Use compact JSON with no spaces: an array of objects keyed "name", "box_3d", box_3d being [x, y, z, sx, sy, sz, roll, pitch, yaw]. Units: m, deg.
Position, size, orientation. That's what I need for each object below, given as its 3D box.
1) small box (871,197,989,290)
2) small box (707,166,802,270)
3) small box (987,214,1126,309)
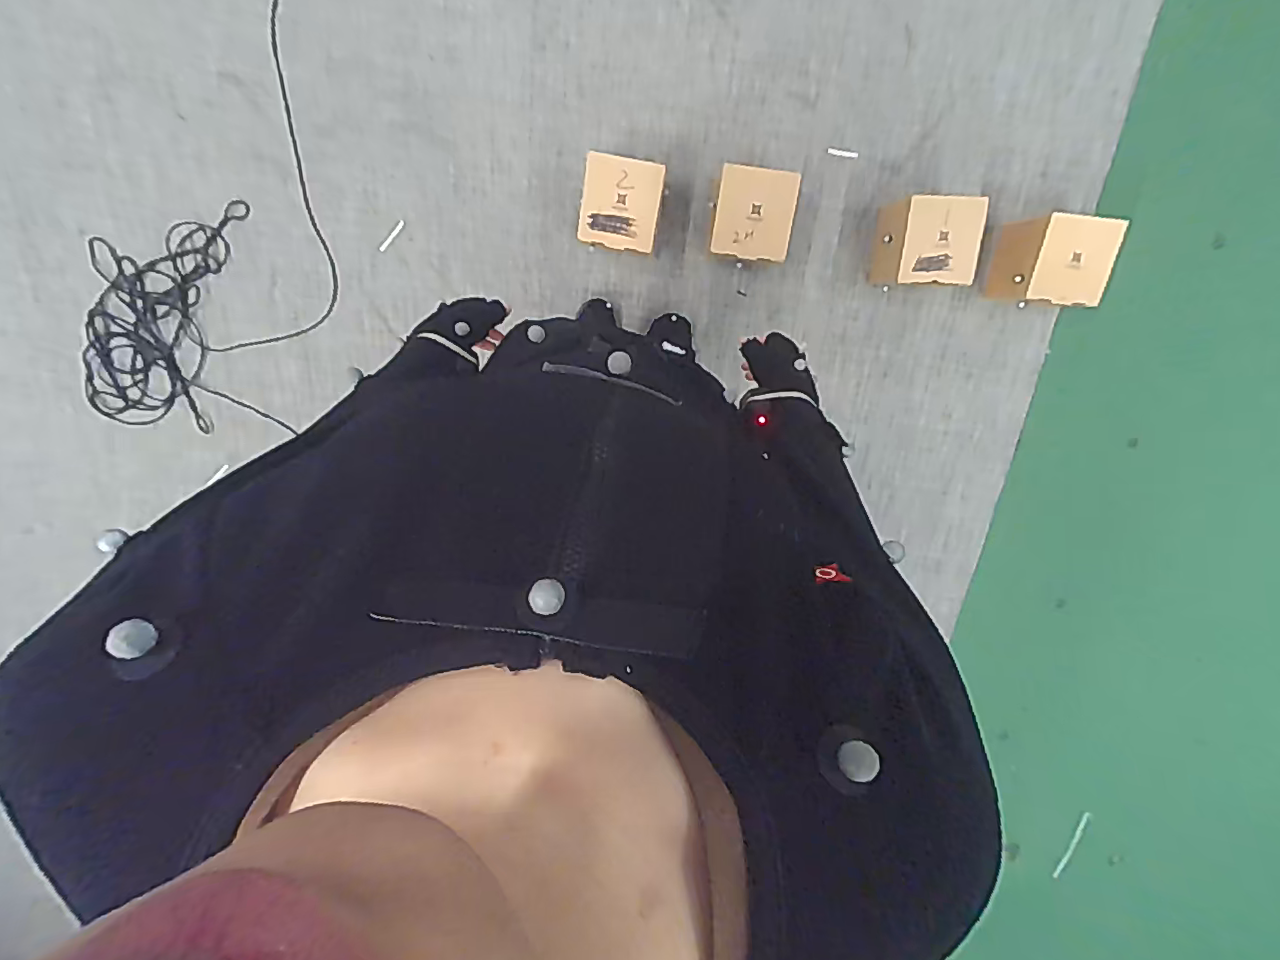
[{"name":"small box","box_3d":[0.647,-0.529,1.231,0.168,0.176,0.179,2,107,0]},{"name":"small box","box_3d":[0.248,-0.582,1.220,0.168,0.176,0.179,8,108,0]},{"name":"small box","box_3d":[0.937,-0.492,1.237,0.168,0.176,0.179,6,108,0]}]
